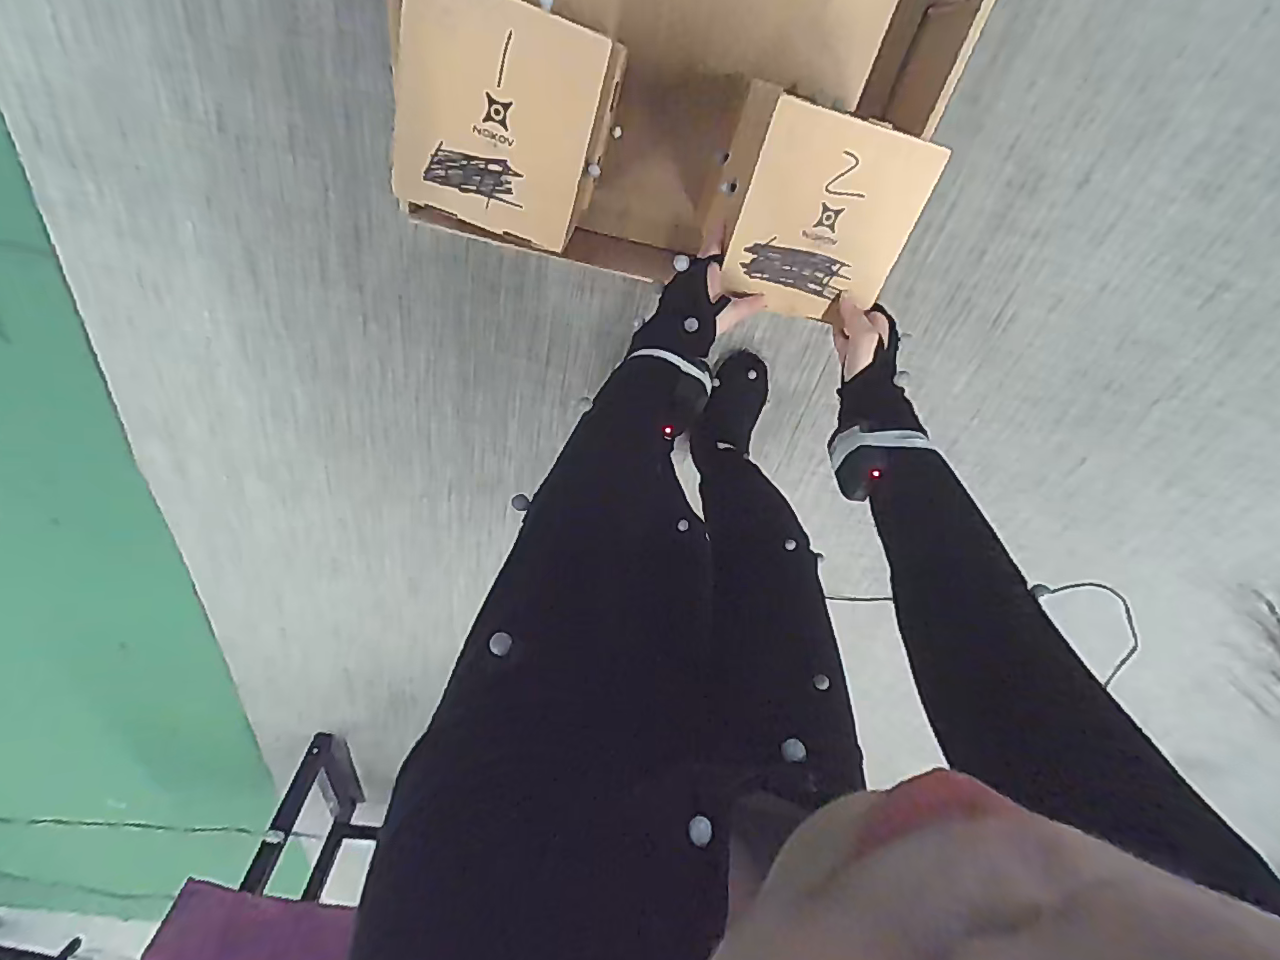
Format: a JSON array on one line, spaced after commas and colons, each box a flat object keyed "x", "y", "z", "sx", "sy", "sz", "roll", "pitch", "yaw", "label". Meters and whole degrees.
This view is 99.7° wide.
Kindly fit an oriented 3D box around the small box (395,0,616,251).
[{"x": -0.124, "y": -0.360, "z": 0.535, "sx": 0.168, "sy": 0.176, "sz": 0.179, "roll": 15, "pitch": 125, "yaw": -11, "label": "small box"}]
